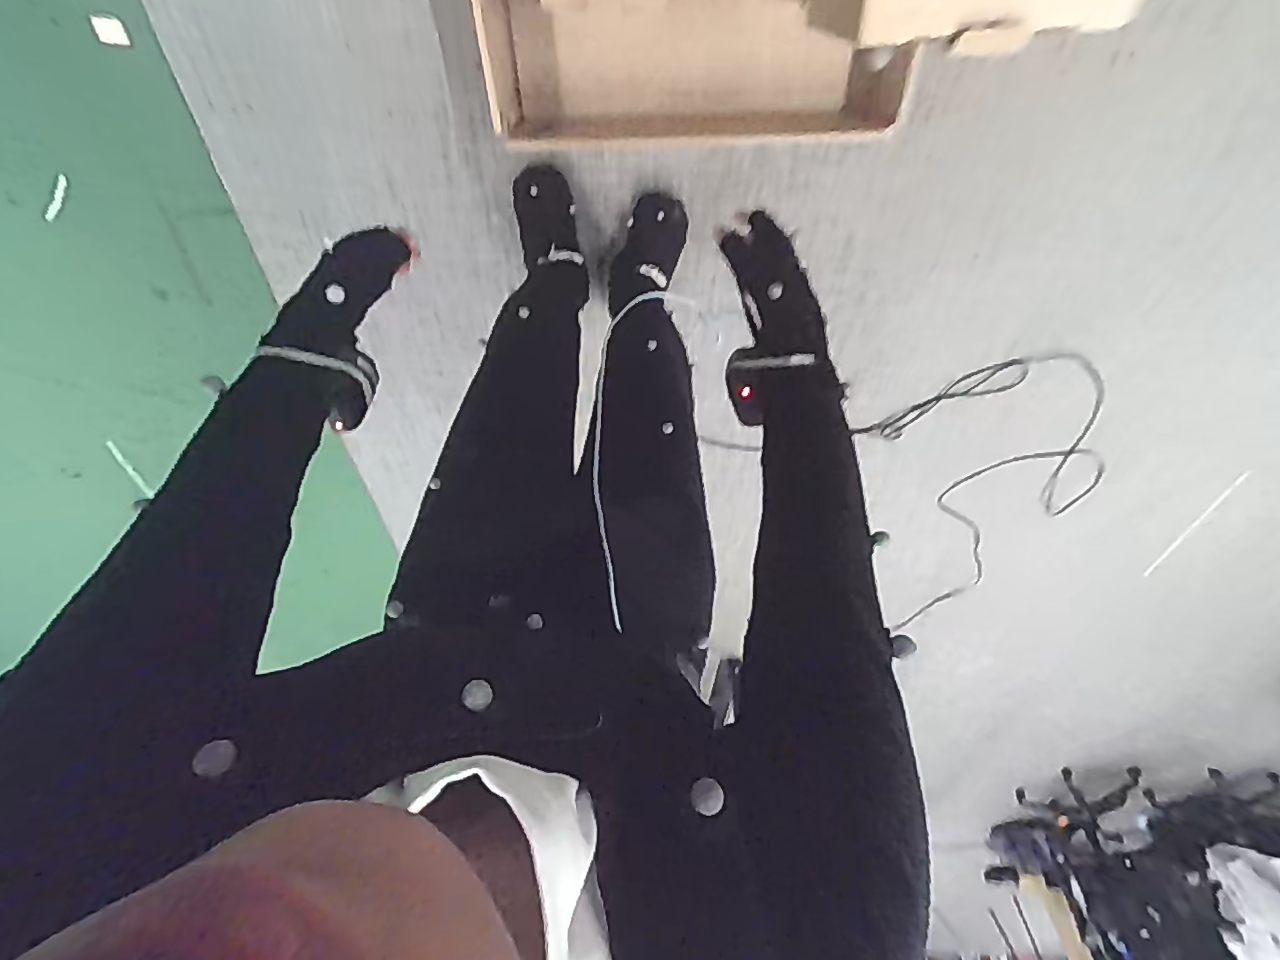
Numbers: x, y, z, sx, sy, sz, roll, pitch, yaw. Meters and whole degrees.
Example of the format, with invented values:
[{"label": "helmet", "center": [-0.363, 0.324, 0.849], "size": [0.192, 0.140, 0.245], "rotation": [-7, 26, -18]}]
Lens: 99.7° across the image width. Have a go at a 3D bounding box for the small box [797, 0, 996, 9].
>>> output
[{"label": "small box", "center": [0.221, -0.518, 0.454], "size": [0.168, 0.176, 0.179], "rotation": [0, 133, 0]}]
